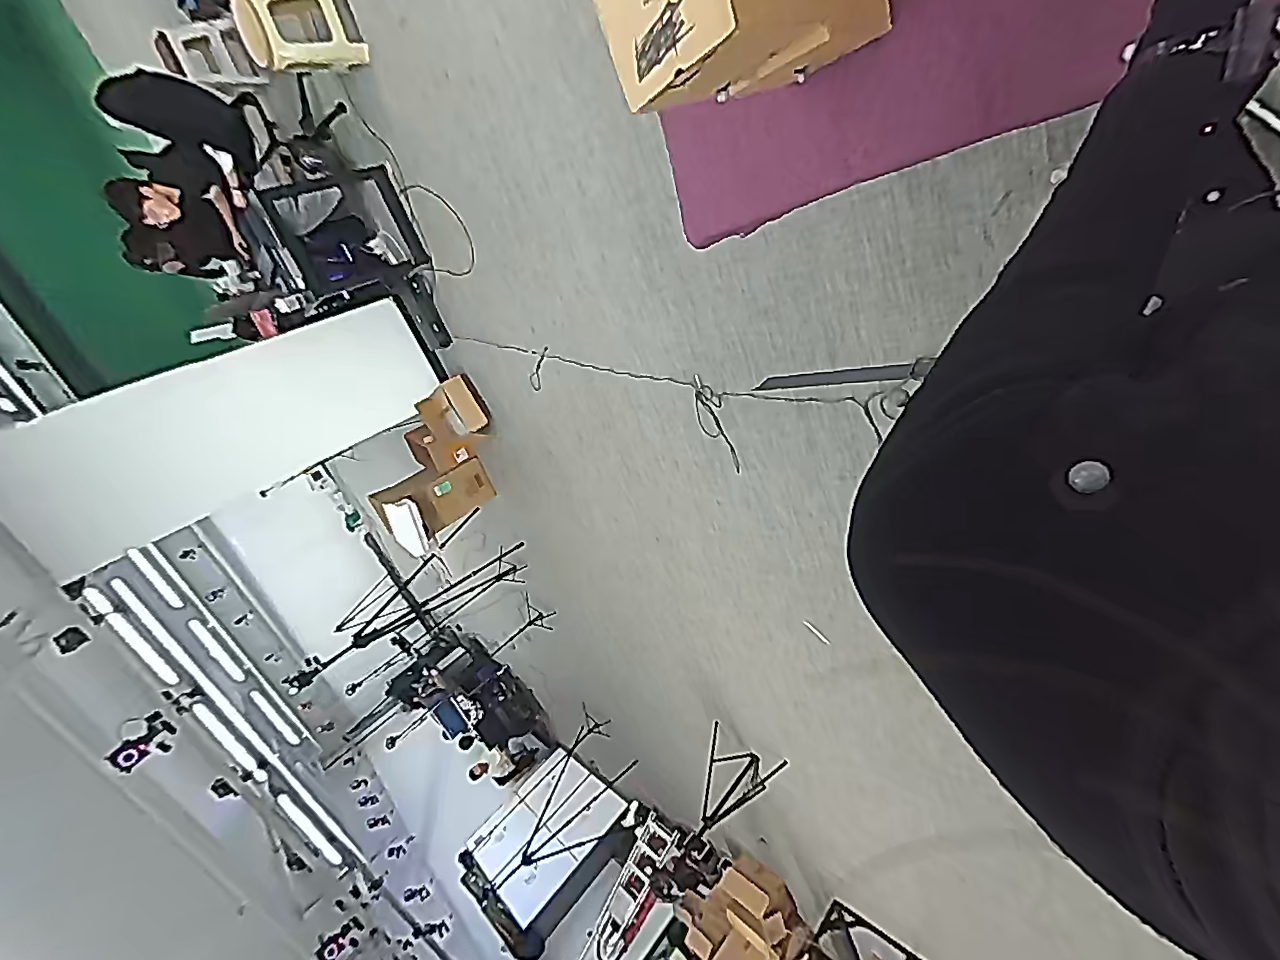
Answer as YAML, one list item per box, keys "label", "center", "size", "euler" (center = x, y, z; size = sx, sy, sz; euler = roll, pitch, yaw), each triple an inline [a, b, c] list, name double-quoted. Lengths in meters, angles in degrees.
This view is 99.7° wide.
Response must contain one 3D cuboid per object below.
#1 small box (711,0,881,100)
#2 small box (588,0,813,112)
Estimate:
- label: "small box"
  center: [0.179, -0.615, 0.673]
  size: [0.168, 0.176, 0.179]
  euler: [8, 127, 48]
- label: "small box"
  center: [0.061, -0.541, 0.584]
  size: [0.168, 0.176, 0.179]
  euler: [3, 122, 50]
